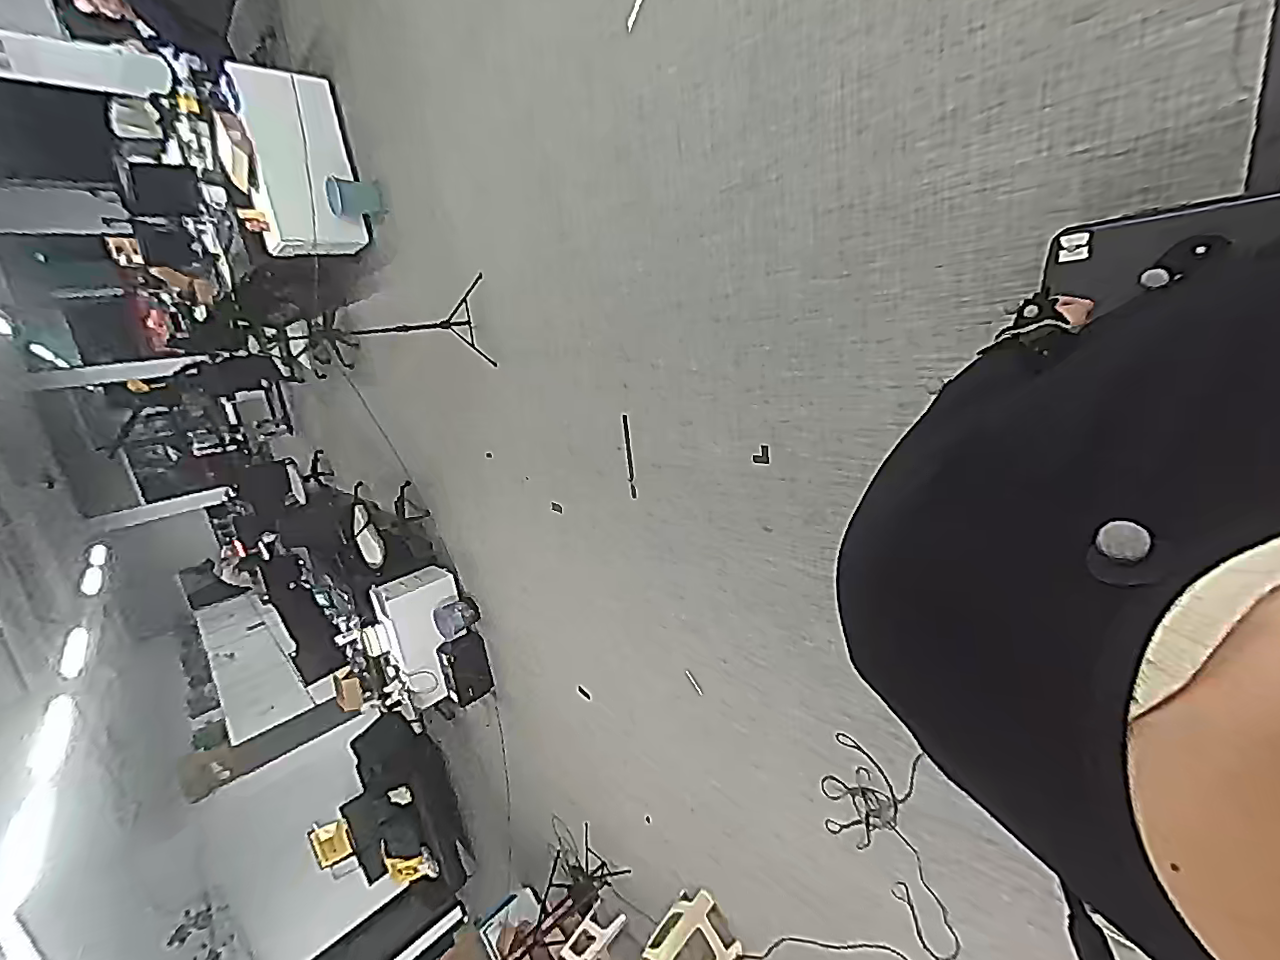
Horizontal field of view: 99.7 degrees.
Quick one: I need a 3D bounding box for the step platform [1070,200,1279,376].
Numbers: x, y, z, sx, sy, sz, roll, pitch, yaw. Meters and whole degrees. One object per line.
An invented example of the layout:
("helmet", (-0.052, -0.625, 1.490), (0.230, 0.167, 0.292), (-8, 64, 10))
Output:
("step platform", (1.149, -0.322, 0.894), (0.684, 0.204, 0.286), (14, 115, 44))
